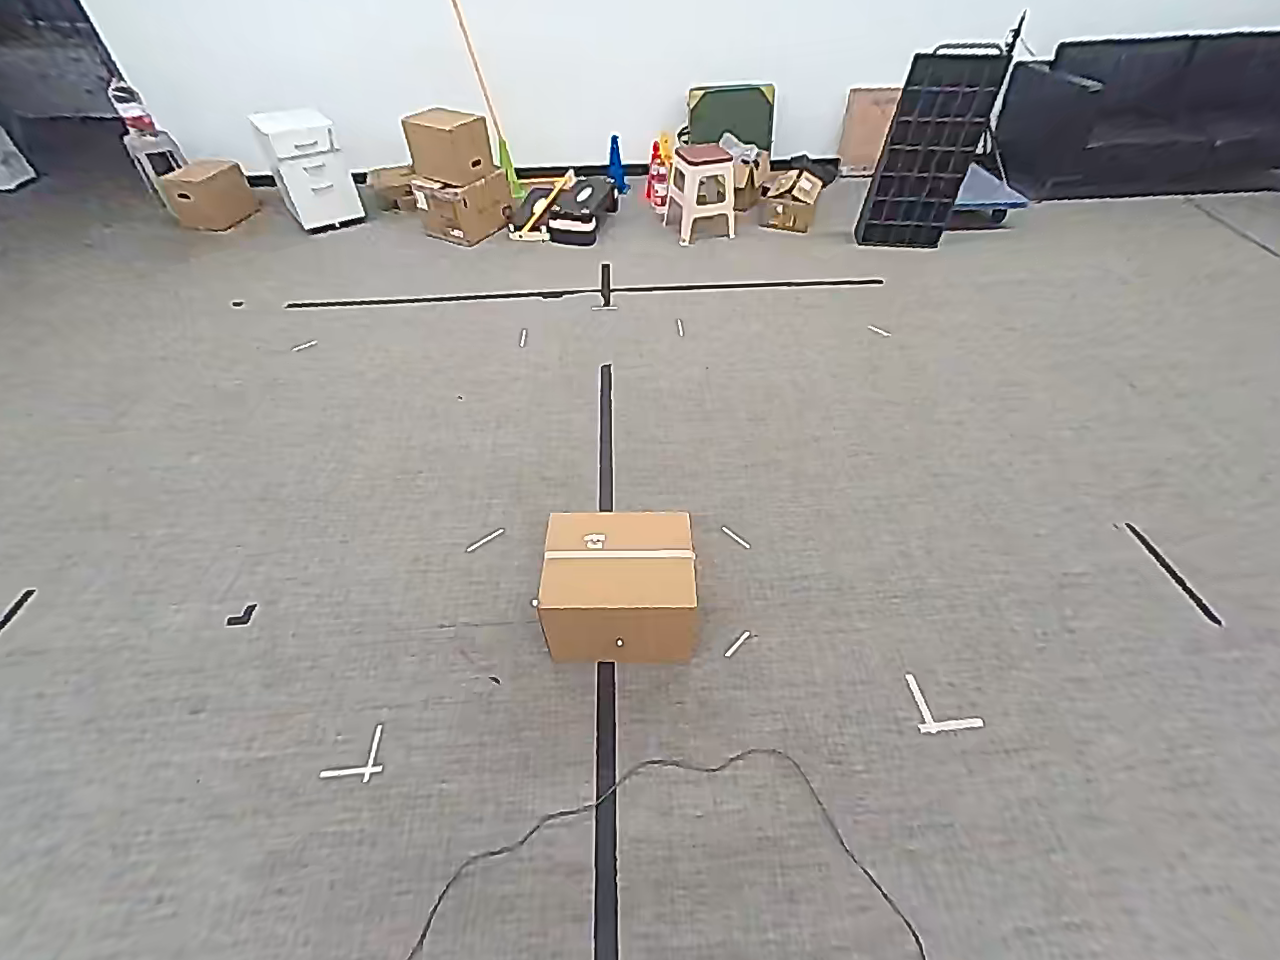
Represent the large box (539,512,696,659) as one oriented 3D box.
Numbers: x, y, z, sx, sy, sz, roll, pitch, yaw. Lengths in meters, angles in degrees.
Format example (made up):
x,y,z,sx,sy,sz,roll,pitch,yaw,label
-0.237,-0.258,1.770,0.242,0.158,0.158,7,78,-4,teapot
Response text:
x,y,z,sx,sy,sz,roll,pitch,yaw,label
-0.055,0.311,1.570,0.408,0.320,0.320,-1,46,1,large box
